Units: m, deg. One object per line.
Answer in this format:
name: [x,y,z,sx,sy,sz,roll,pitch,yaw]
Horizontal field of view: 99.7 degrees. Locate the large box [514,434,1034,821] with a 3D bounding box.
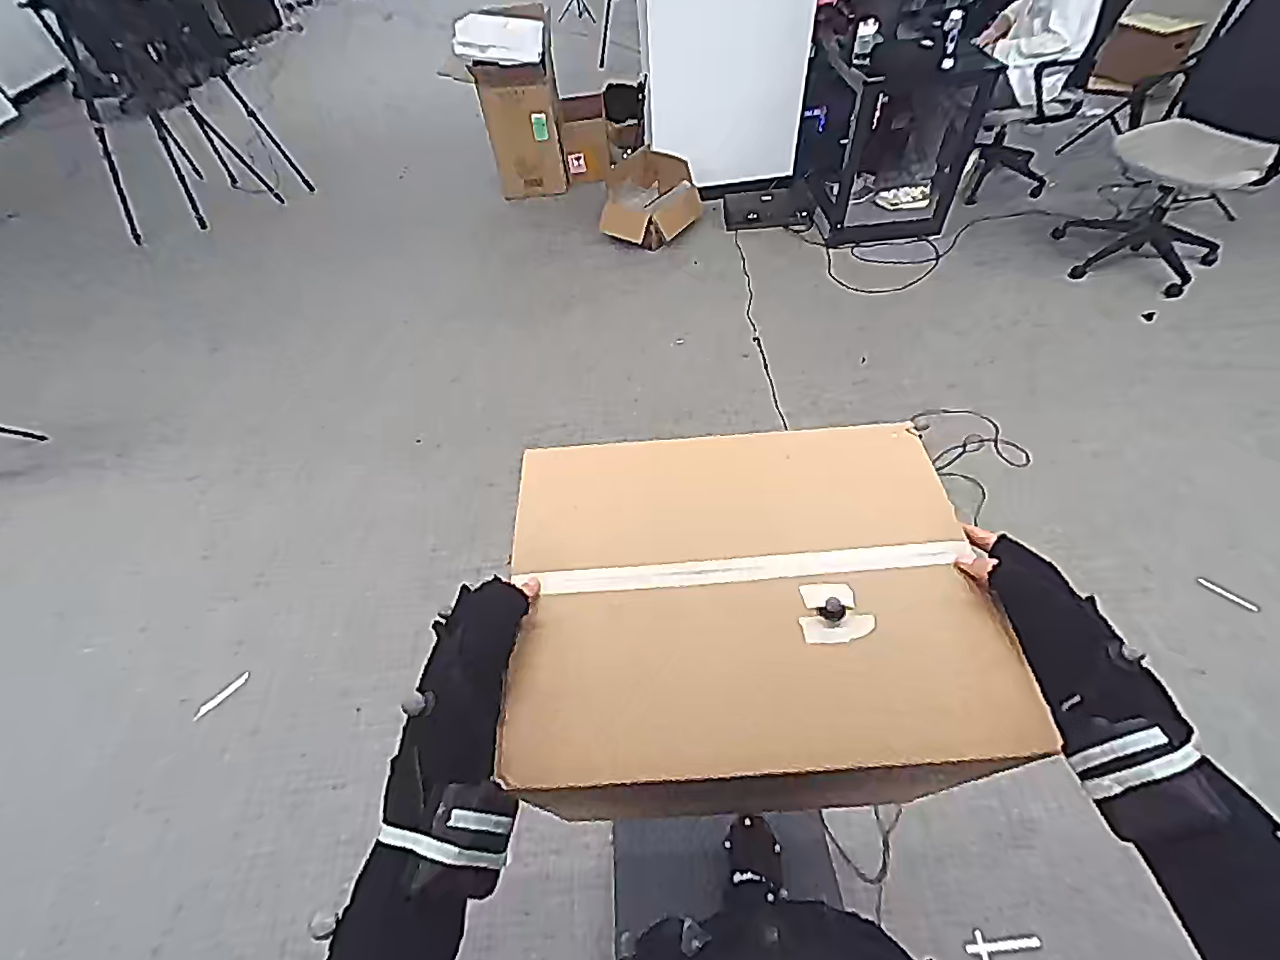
large box: [0.098,0.176,0.612,0.408,0.320,0.320,-4,54,1]
